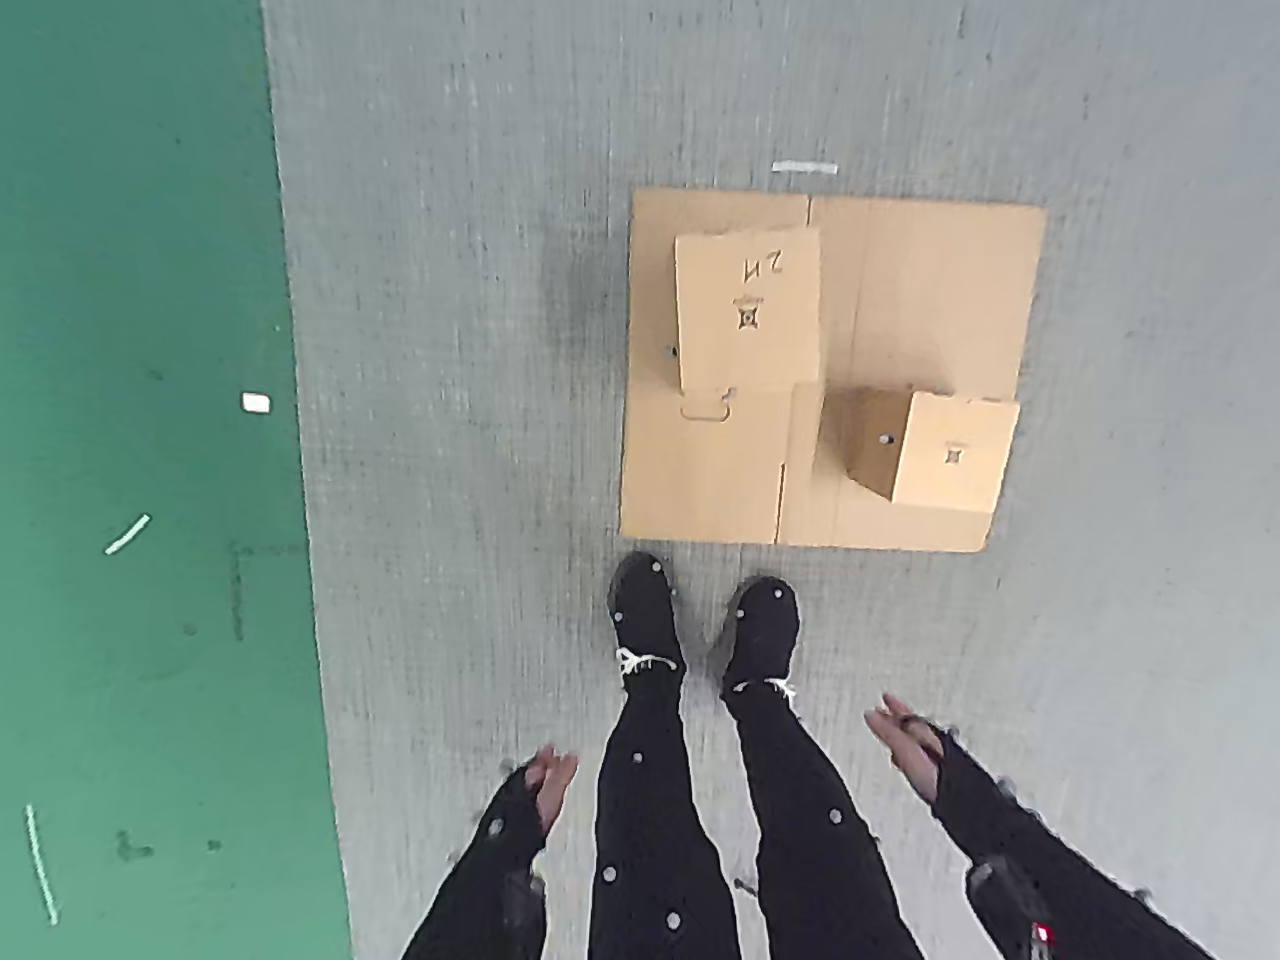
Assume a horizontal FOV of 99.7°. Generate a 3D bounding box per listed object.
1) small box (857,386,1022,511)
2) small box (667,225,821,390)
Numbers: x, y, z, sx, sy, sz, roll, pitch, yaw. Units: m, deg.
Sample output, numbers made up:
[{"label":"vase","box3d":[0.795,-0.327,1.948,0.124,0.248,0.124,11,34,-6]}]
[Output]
[{"label":"small box","box3d":[0.479,-0.059,0.894,0.168,0.176,0.179,5,101,-1]},{"label":"small box","box3d":[0.124,-0.212,0.698,0.168,0.176,0.179,-3,101,-1]}]
